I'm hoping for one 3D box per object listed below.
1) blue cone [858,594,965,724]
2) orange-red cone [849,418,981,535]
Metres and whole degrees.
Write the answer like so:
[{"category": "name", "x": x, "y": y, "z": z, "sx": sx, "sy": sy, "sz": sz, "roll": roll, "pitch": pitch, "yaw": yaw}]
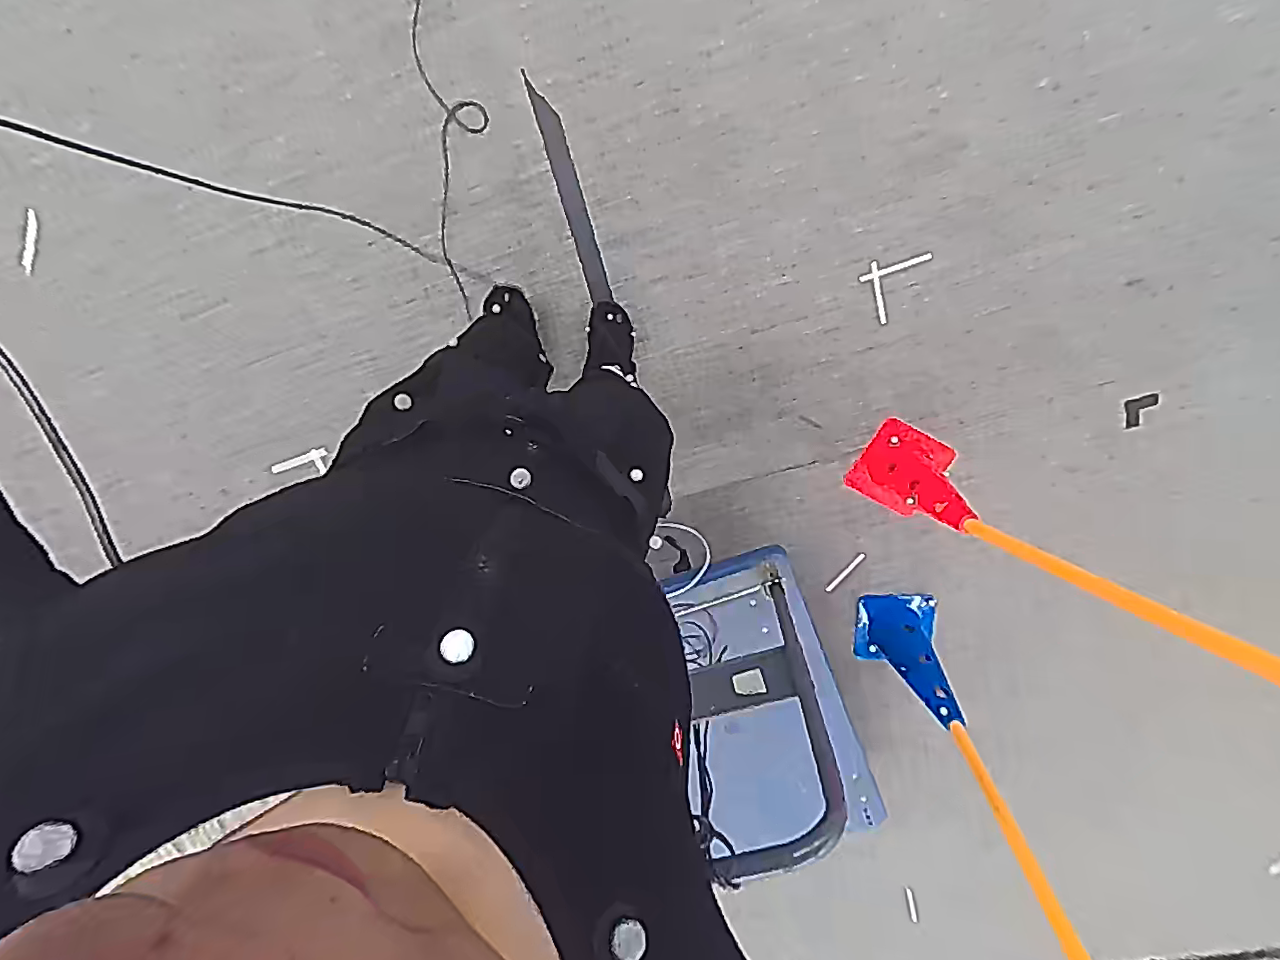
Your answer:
[{"category": "blue cone", "x": 0.668, "y": 0.442, "z": 1.290, "sx": 0.193, "sy": 0.380, "sz": 0.192, "roll": 0, "pitch": 108, "yaw": 5}, {"category": "orange-red cone", "x": 0.616, "y": 0.028, "z": 1.141, "sx": 0.198, "sy": 0.360, "sz": 0.199, "roll": 29, "pitch": 110, "yaw": -4}]
